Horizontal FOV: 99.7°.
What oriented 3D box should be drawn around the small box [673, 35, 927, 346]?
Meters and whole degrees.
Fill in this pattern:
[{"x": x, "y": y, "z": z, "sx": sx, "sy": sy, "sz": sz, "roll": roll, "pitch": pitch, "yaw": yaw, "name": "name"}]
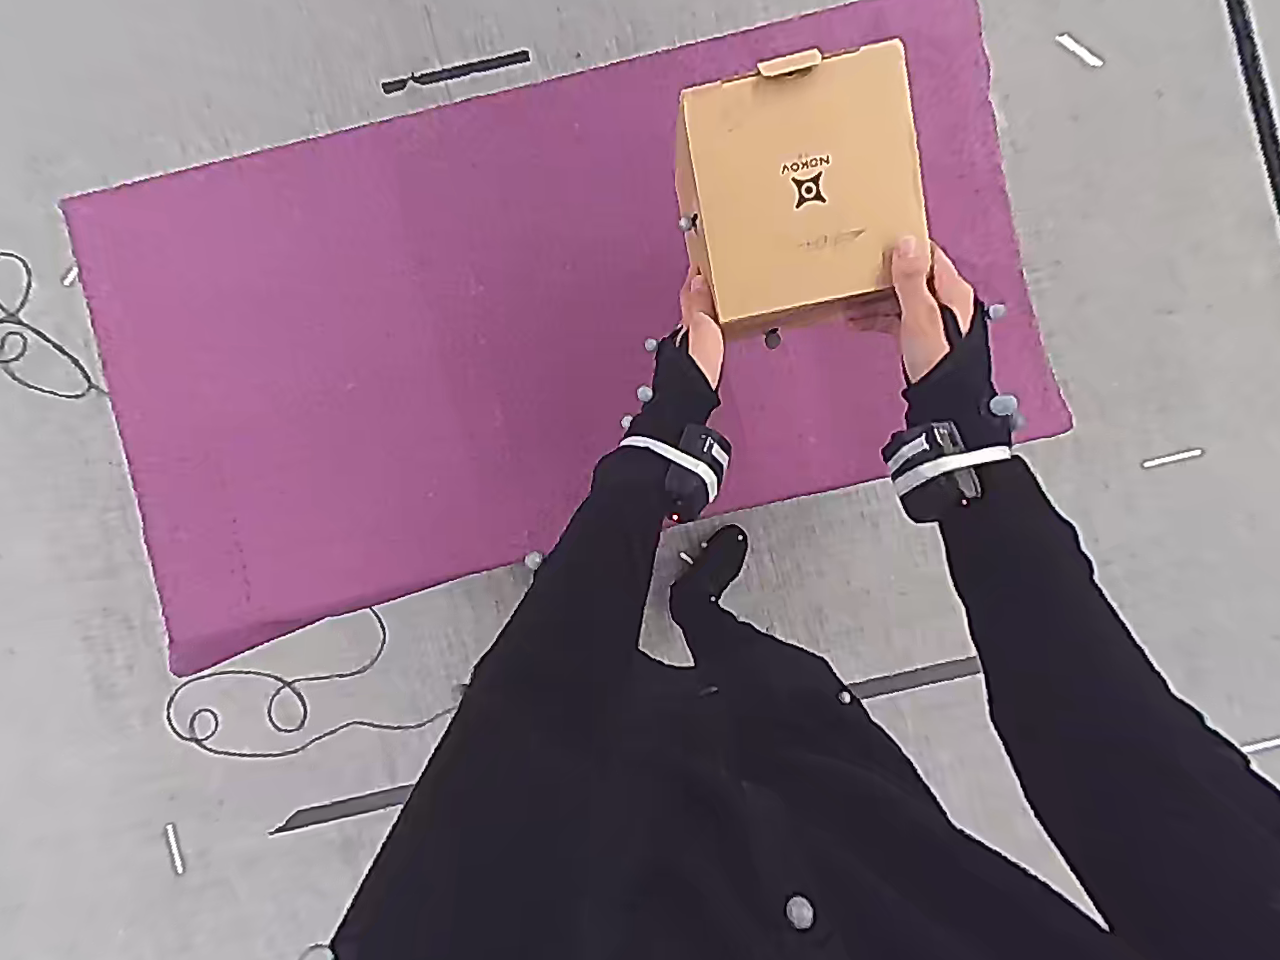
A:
[{"x": 0.123, "y": -0.230, "z": 0.478, "sx": 0.168, "sy": 0.176, "sz": 0.179, "roll": -10, "pitch": 96, "yaw": 4, "name": "small box"}]
